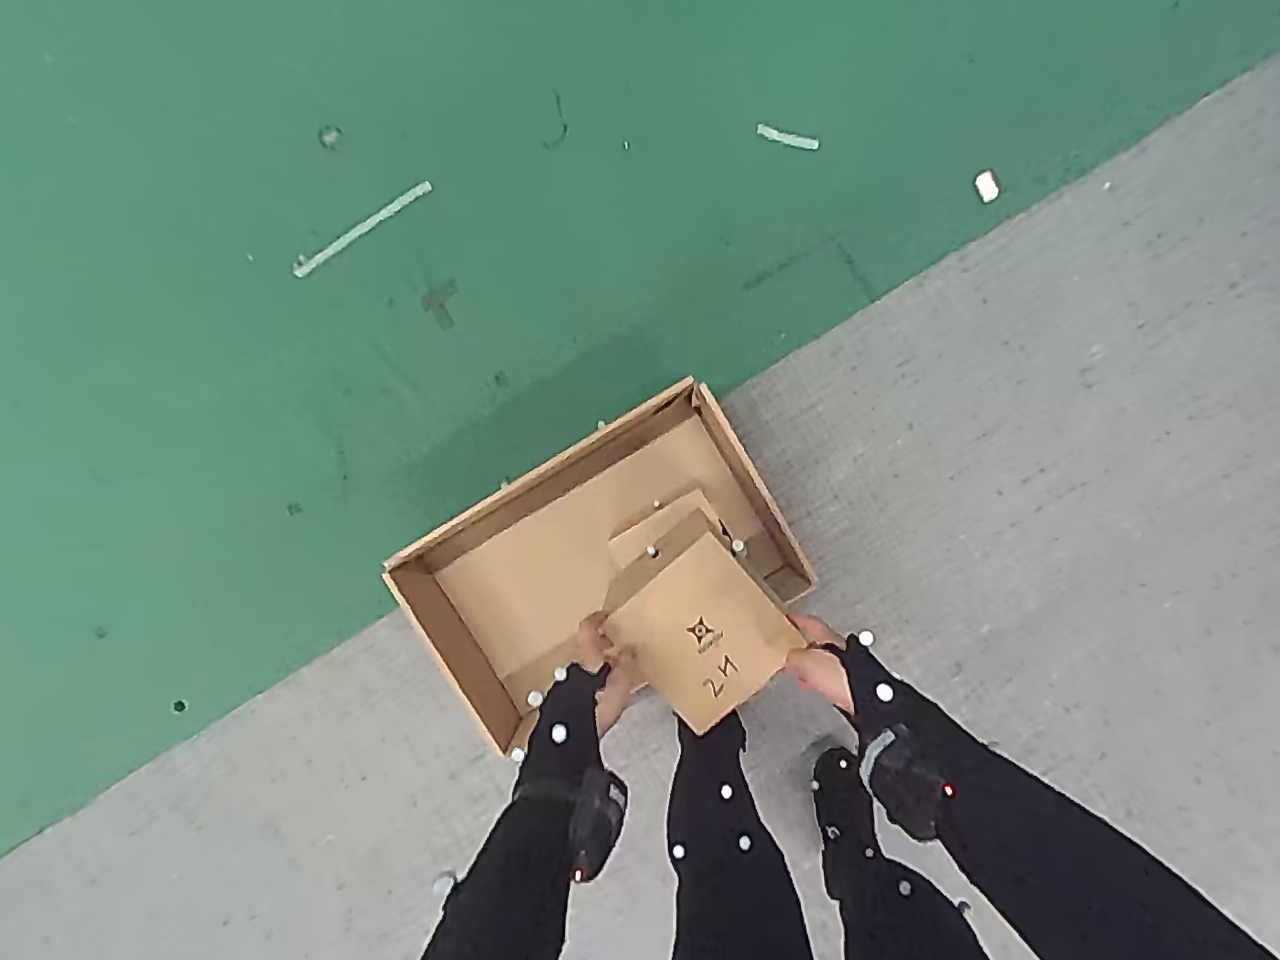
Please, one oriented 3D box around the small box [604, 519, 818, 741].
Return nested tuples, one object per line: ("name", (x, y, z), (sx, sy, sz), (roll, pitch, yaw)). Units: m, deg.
("small box", (0.077, 0.164, 0.661), (0.168, 0.176, 0.179), (-42, 95, 6))
